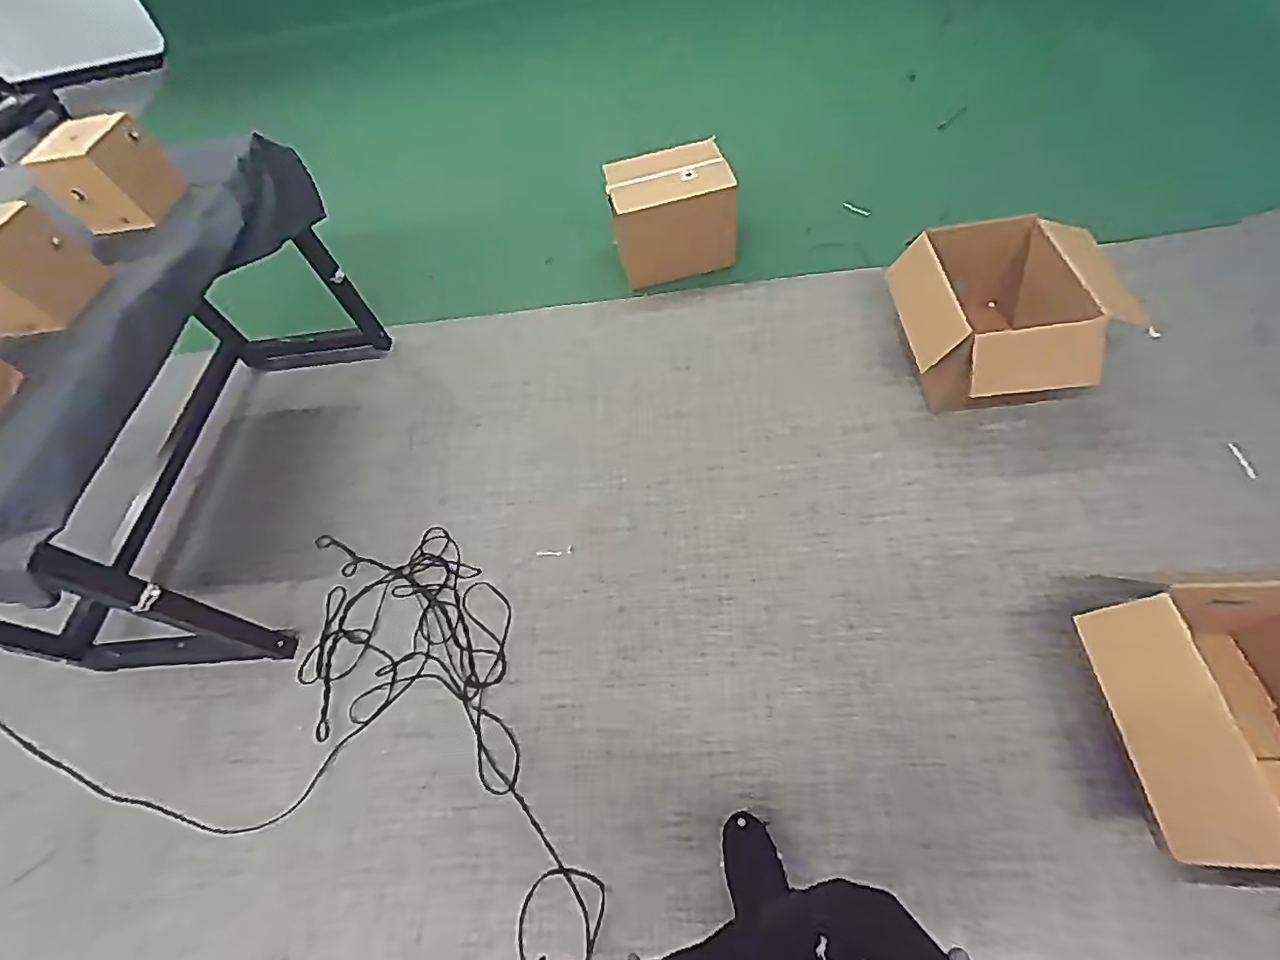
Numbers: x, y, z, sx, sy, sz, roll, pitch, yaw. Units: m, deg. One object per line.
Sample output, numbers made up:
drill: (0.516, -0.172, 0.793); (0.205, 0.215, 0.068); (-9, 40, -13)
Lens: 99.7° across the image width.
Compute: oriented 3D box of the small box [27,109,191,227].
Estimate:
small box: (-1.177, -0.691, 1.217); (0.168, 0.176, 0.179); (-3, 58, 8)
